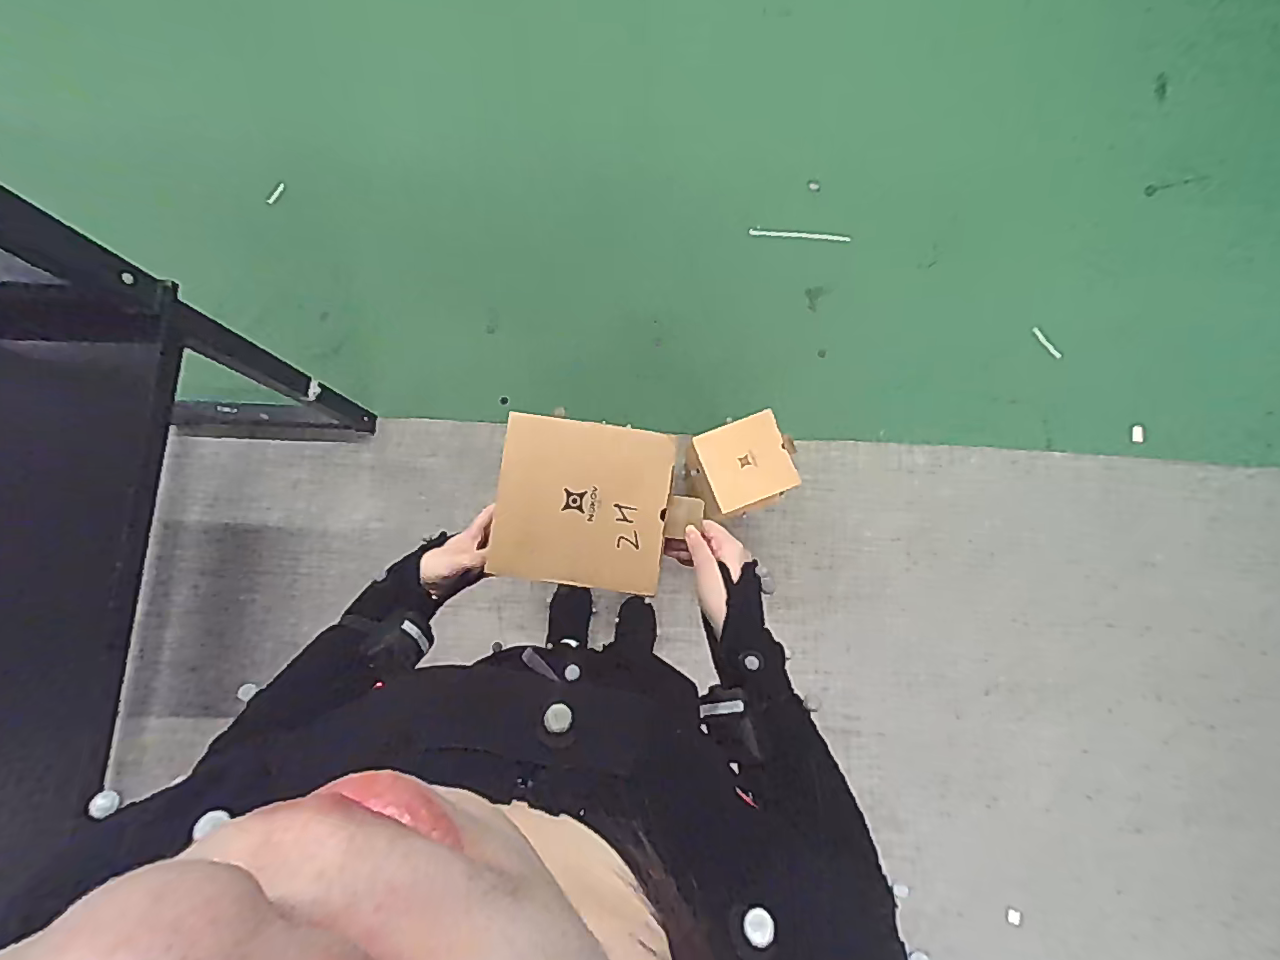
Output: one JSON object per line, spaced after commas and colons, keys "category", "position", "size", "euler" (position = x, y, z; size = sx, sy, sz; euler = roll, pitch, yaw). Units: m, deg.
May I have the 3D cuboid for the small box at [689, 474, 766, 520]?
{"category": "small box", "position": [0.227, 0.017, 1.457], "size": [0.179, 0.176, 0.168], "euler": [-4, 82, -3]}

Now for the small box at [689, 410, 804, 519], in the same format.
{"category": "small box", "position": [0.211, -0.025, 1.134], "size": [0.179, 0.176, 0.168], "euler": [-21, 84, -5]}

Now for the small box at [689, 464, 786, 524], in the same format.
{"category": "small box", "position": [0.223, 0.003, 1.295], "size": [0.179, 0.176, 0.168], "euler": [-17, 84, -4]}

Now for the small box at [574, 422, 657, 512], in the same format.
{"category": "small box", "position": [-0.054, -0.023, 1.291], "size": [0.168, 0.176, 0.179], "euler": [9, 81, 1]}
